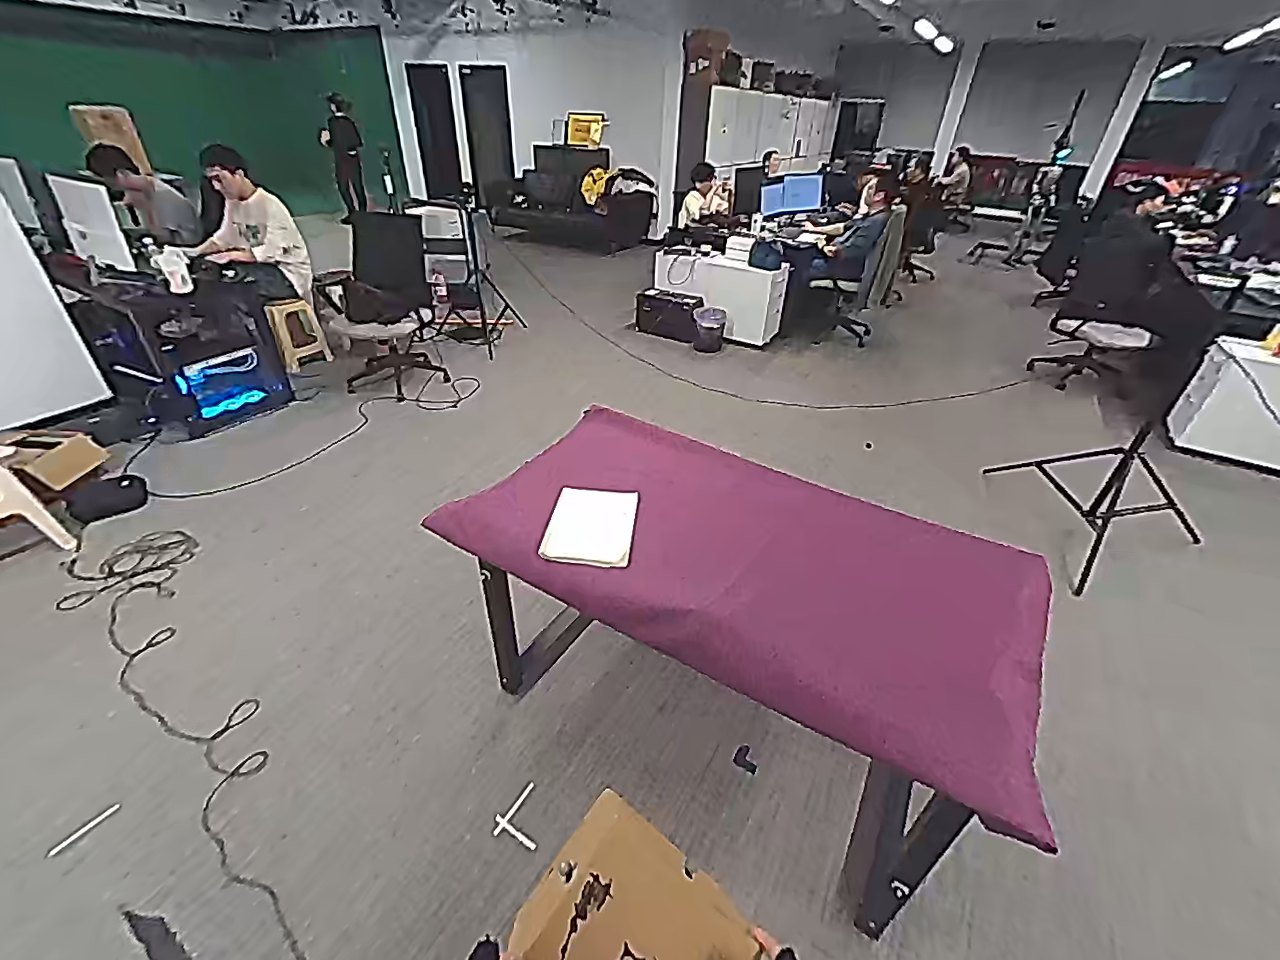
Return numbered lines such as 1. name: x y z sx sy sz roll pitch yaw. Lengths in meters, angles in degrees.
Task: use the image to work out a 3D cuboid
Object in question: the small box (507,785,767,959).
1. small box: -0.009 0.442 0.545 0.179 0.176 0.168 38 69 7
